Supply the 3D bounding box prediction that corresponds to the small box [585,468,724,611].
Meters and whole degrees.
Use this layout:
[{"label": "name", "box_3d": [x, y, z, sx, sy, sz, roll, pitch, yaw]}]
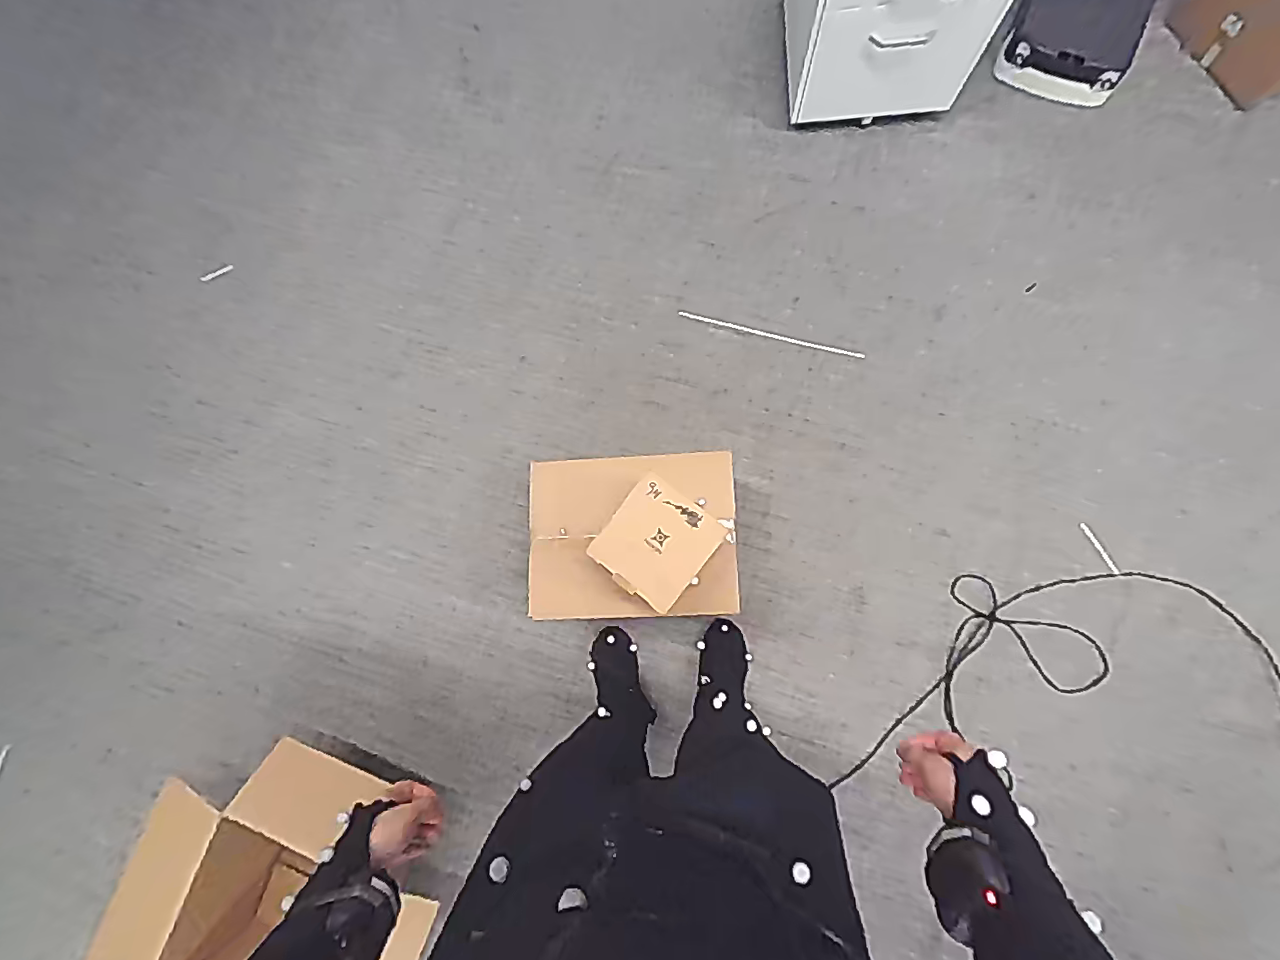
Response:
[{"label": "small box", "box_3d": [0.032, 0.103, 0.953, 0.168, 0.176, 0.179, 38, 89, 8]}]
